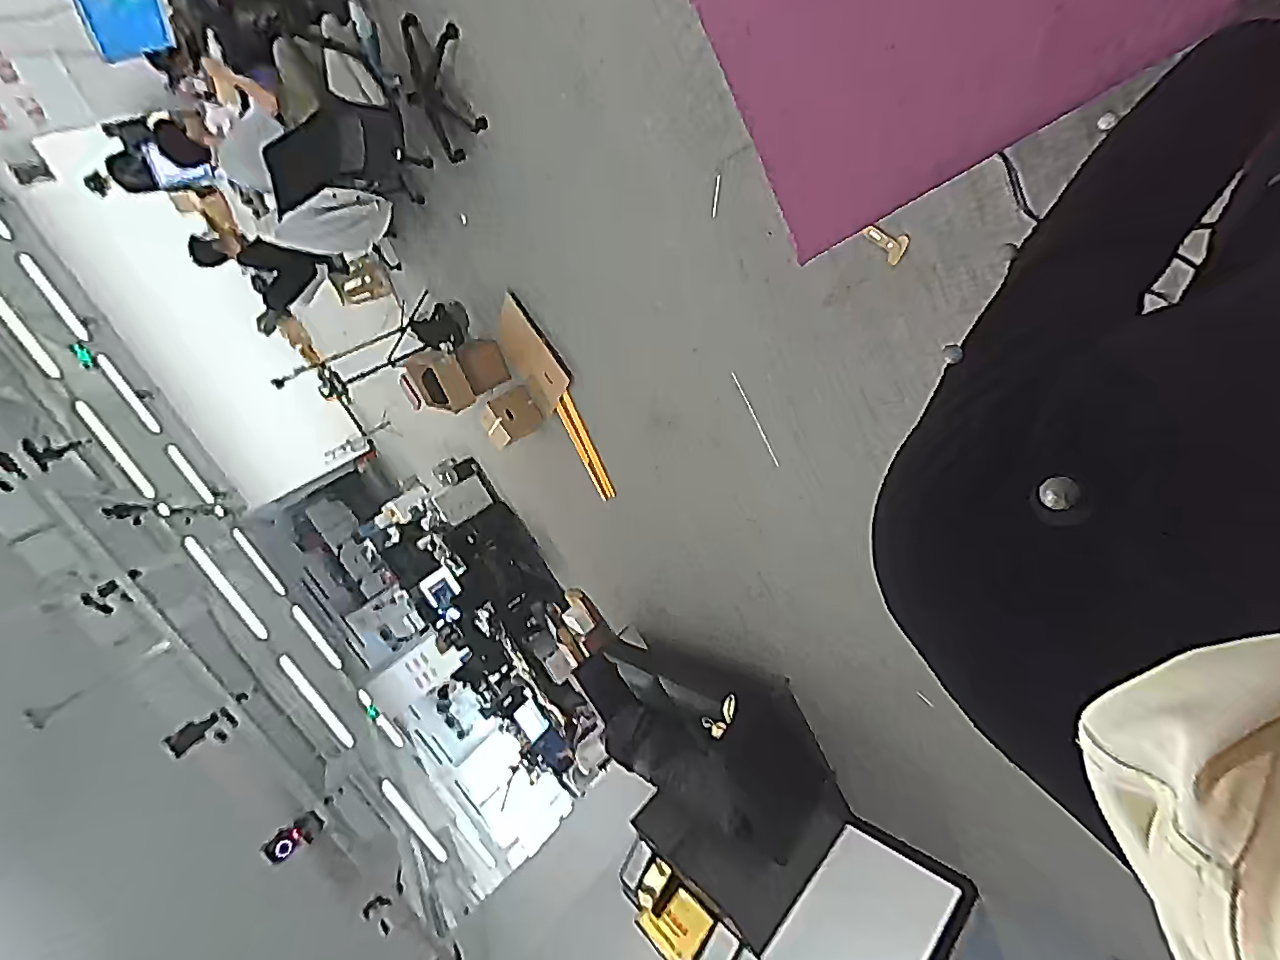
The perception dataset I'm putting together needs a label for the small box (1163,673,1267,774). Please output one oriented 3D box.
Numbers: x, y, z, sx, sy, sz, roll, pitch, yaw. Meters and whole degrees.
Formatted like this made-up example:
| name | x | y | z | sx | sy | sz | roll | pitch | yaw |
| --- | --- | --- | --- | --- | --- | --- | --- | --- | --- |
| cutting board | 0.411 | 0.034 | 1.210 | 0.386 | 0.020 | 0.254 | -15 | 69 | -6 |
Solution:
| name | x | y | z | sx | sy | sz | roll | pitch | yaw |
| --- | --- | --- | --- | --- | --- | --- | --- | --- | --- |
| small box | 1.648 | 0.685 | 1.546 | 0.179 | 0.176 | 0.168 | 1 | 122 | 59 |
